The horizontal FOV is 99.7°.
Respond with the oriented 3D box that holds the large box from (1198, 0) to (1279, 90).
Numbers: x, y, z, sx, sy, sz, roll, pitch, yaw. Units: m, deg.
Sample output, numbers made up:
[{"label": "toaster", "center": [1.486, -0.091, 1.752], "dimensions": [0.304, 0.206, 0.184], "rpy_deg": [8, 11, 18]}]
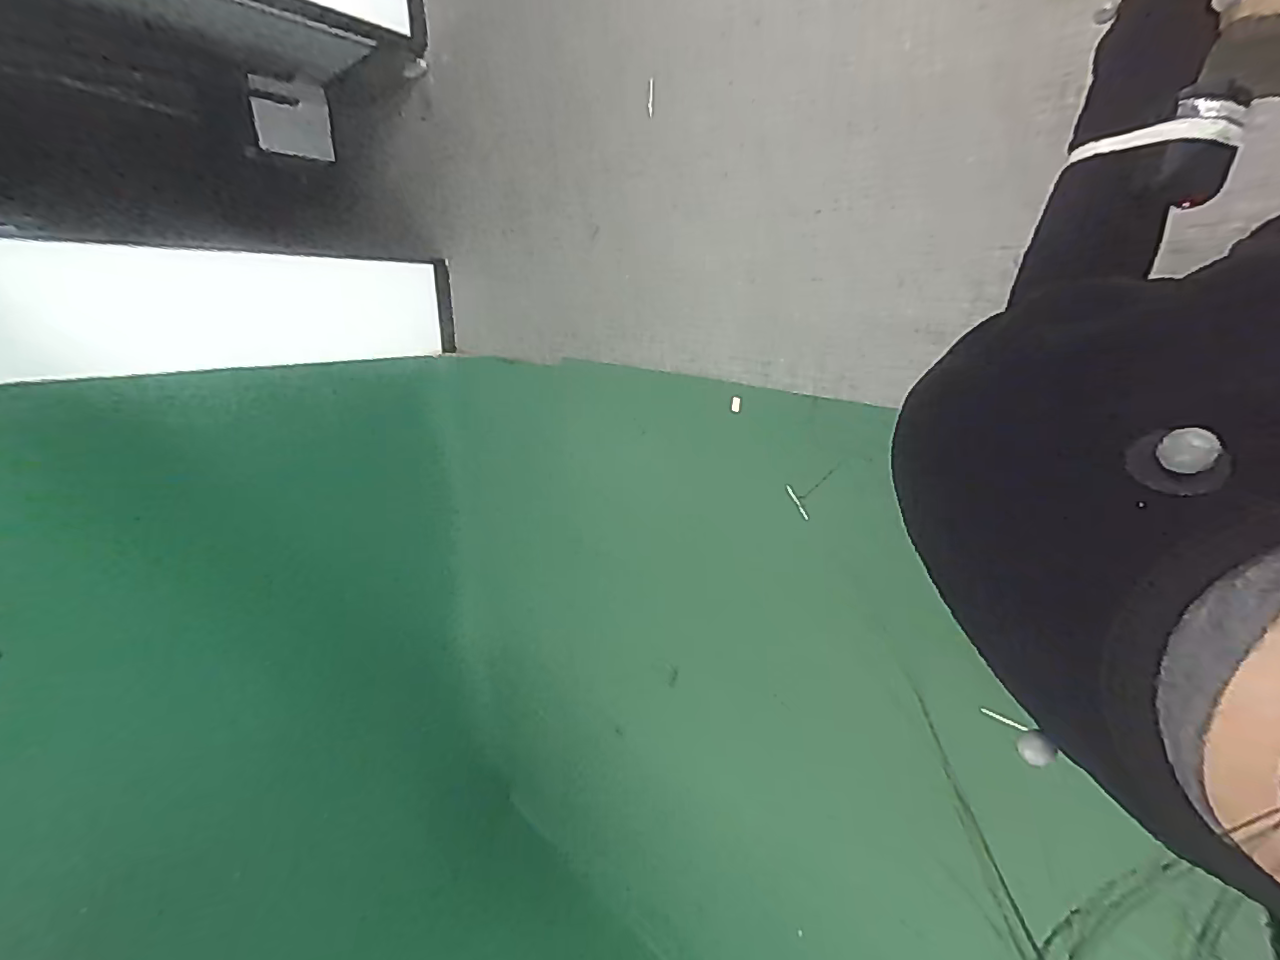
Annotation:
[{"label": "large box", "center": [0.604, -0.420, 0.254], "dimensions": [0.408, 0.320, 0.320], "rpy_deg": [19, 121, 36]}]
